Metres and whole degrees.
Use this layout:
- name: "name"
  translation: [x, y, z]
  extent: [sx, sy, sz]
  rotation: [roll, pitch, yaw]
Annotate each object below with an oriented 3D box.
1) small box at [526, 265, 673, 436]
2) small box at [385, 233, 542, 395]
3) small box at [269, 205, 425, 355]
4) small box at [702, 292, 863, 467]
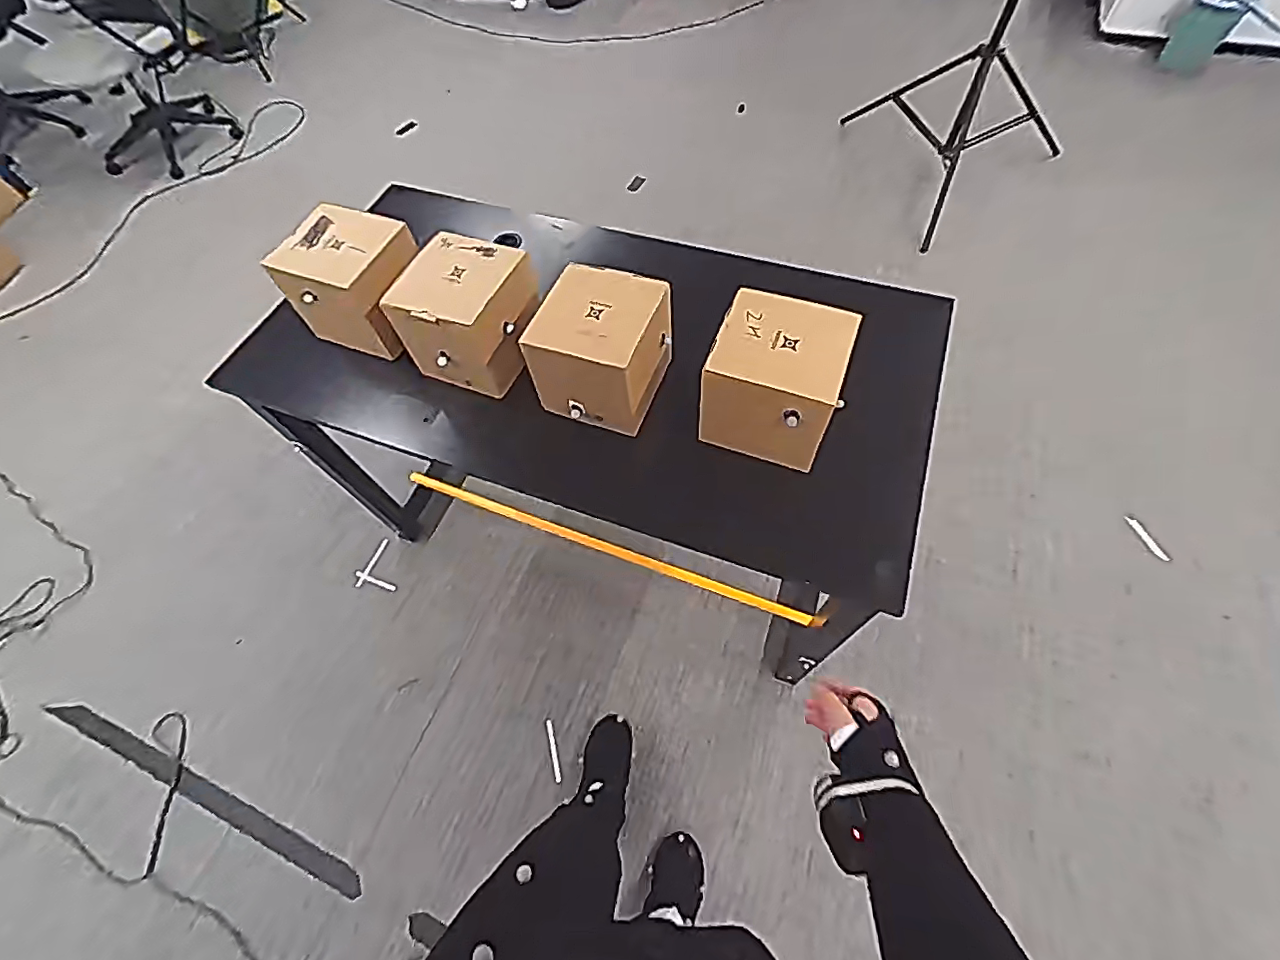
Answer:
- name: "small box"
  translation: [-0.052, -0.199, 0.849]
  extent: [0.168, 0.176, 0.179]
  rotation: [16, 64, 14]
- name: "small box"
  translation: [-0.275, -0.270, 0.900]
  extent: [0.168, 0.176, 0.179]
  rotation: [18, 64, 12]
- name: "small box"
  translation: [-0.487, -0.347, 0.955]
  extent: [0.179, 0.176, 0.168]
  rotation: [18, 64, 12]
- name: "small box"
  translation: [0.200, -0.141, 0.796]
  extent: [0.179, 0.176, 0.168]
  rotation: [18, 63, 14]
